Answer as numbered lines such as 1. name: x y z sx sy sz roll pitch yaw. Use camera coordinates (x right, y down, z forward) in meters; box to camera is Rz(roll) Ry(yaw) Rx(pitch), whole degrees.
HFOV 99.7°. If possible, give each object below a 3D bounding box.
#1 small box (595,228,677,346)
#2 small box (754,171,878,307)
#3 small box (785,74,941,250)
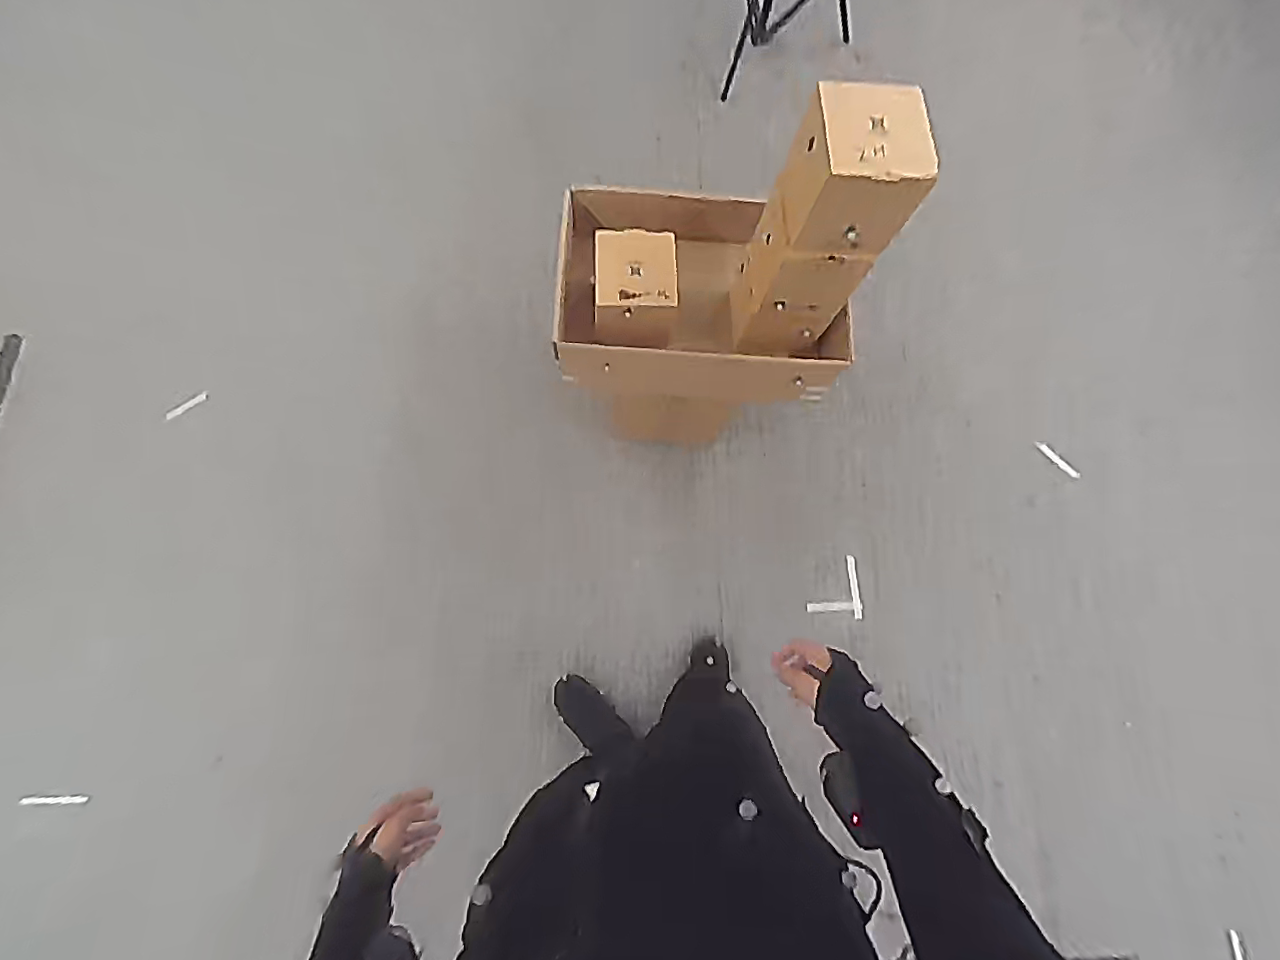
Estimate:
1. small box: -0.014 -0.408 1.157 0.168 0.176 0.179 -1 75 -3
2. small box: 0.320 -0.444 1.018 0.168 0.176 0.179 0 75 -5
3. small box: 0.341 -0.498 0.863 0.168 0.176 0.179 -1 76 -5
